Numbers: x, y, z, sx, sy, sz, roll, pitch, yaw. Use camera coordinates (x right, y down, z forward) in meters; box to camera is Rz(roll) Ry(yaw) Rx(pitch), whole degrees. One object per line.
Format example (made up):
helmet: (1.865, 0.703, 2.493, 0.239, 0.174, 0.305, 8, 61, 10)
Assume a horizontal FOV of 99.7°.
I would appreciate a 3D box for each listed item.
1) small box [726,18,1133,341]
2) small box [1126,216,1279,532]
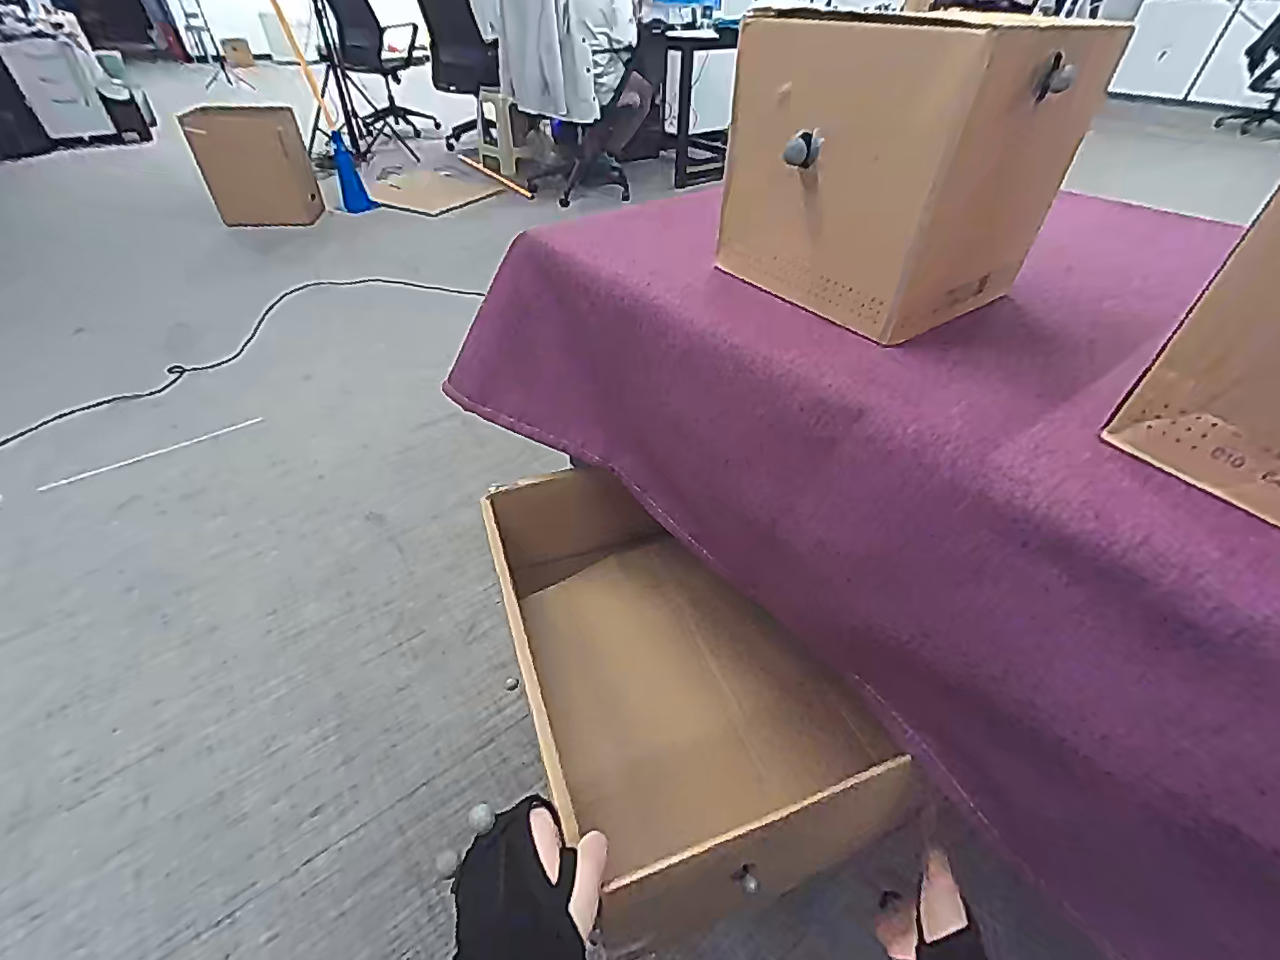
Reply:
small box: (0.180, -0.222, 0.392, 0.168, 0.176, 0.179, -27, 48, -26)
small box: (0.363, -0.063, 0.219, 0.179, 0.176, 0.168, -23, 47, -23)
